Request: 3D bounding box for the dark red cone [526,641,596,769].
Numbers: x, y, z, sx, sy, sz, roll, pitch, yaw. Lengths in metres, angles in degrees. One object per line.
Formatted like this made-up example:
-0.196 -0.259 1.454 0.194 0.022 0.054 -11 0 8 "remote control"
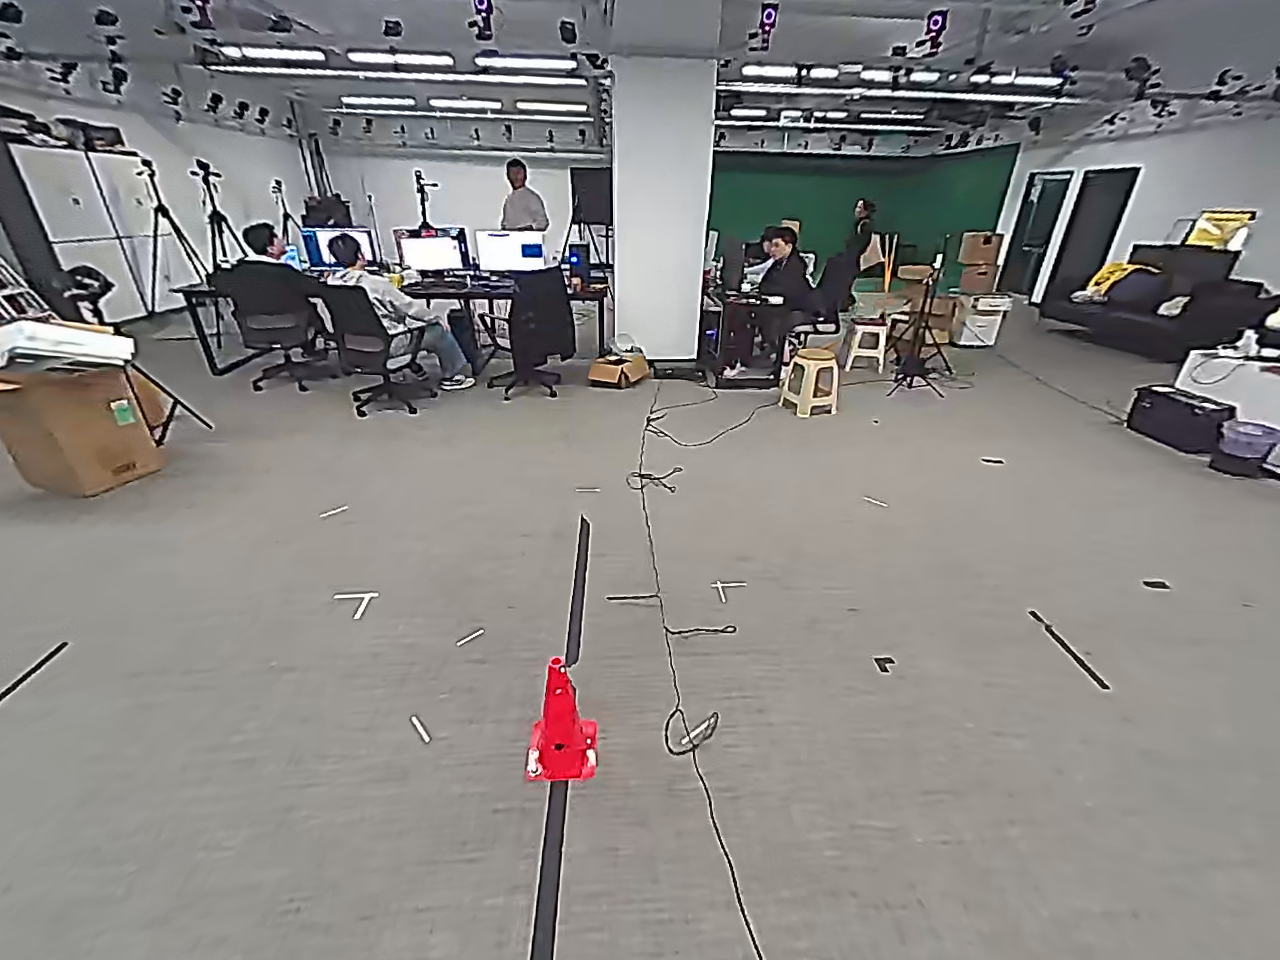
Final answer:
-0.224 0.621 1.529 0.201 0.394 0.202 1 27 -4 "dark red cone"
